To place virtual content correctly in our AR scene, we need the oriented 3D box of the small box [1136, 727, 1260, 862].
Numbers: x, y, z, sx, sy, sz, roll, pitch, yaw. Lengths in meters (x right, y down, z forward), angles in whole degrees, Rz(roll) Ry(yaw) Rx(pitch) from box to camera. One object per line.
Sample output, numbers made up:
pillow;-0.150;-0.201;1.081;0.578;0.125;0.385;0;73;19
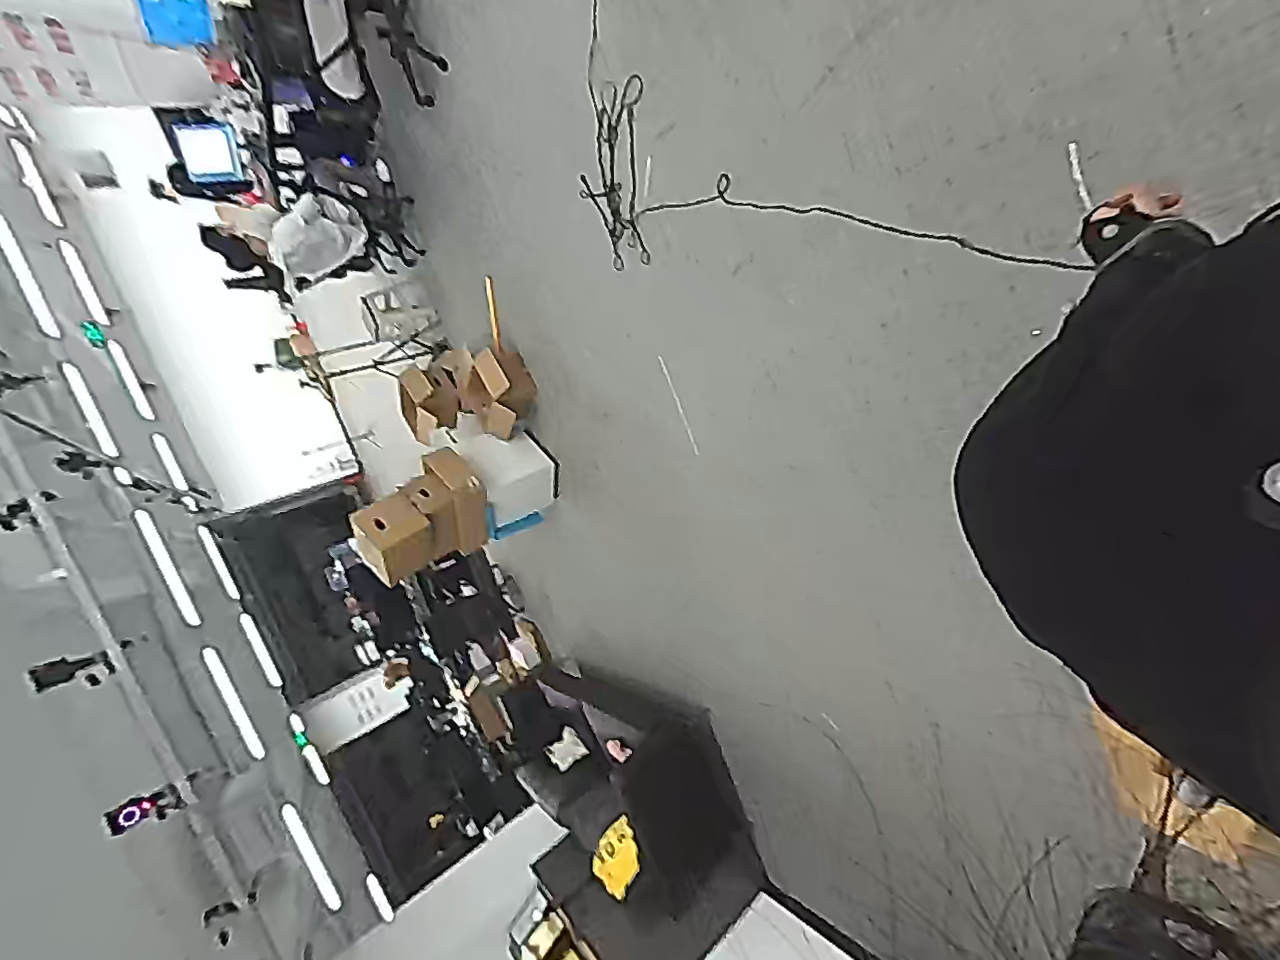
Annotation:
small box;1.320;0.736;1.280;0.168;0.176;0.179;18;126;50
